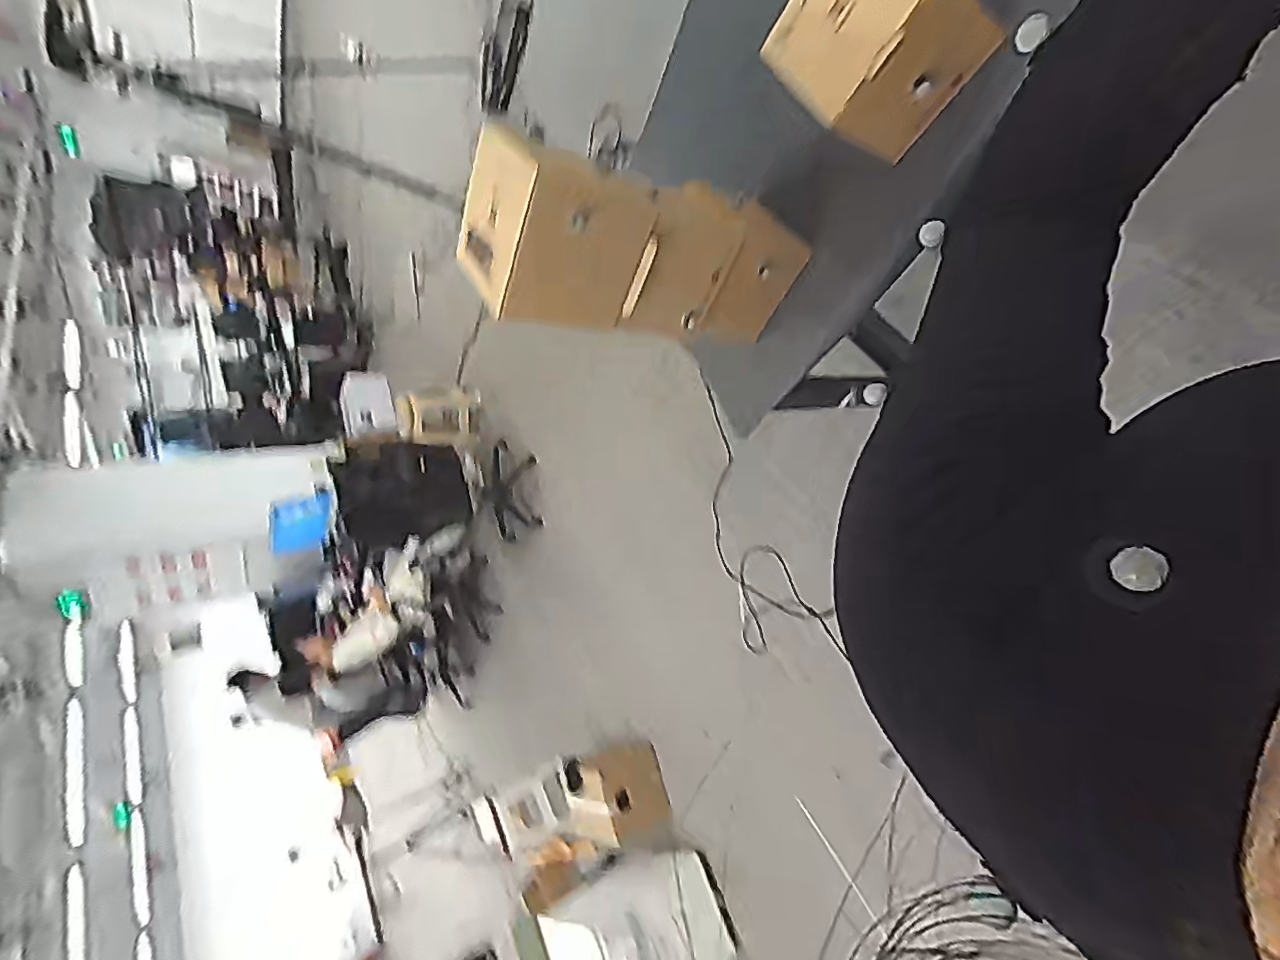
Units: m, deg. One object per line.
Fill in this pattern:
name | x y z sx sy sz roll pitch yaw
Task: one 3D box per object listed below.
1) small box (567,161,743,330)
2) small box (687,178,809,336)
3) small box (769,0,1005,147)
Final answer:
small box | 0.020 -0.338 0.804 0.179 0.176 0.168 55 134 33
small box | 0.151 -0.362 0.901 0.168 0.176 0.179 58 136 29
small box | 0.305 -0.550 0.673 0.168 0.176 0.179 -48 60 45
